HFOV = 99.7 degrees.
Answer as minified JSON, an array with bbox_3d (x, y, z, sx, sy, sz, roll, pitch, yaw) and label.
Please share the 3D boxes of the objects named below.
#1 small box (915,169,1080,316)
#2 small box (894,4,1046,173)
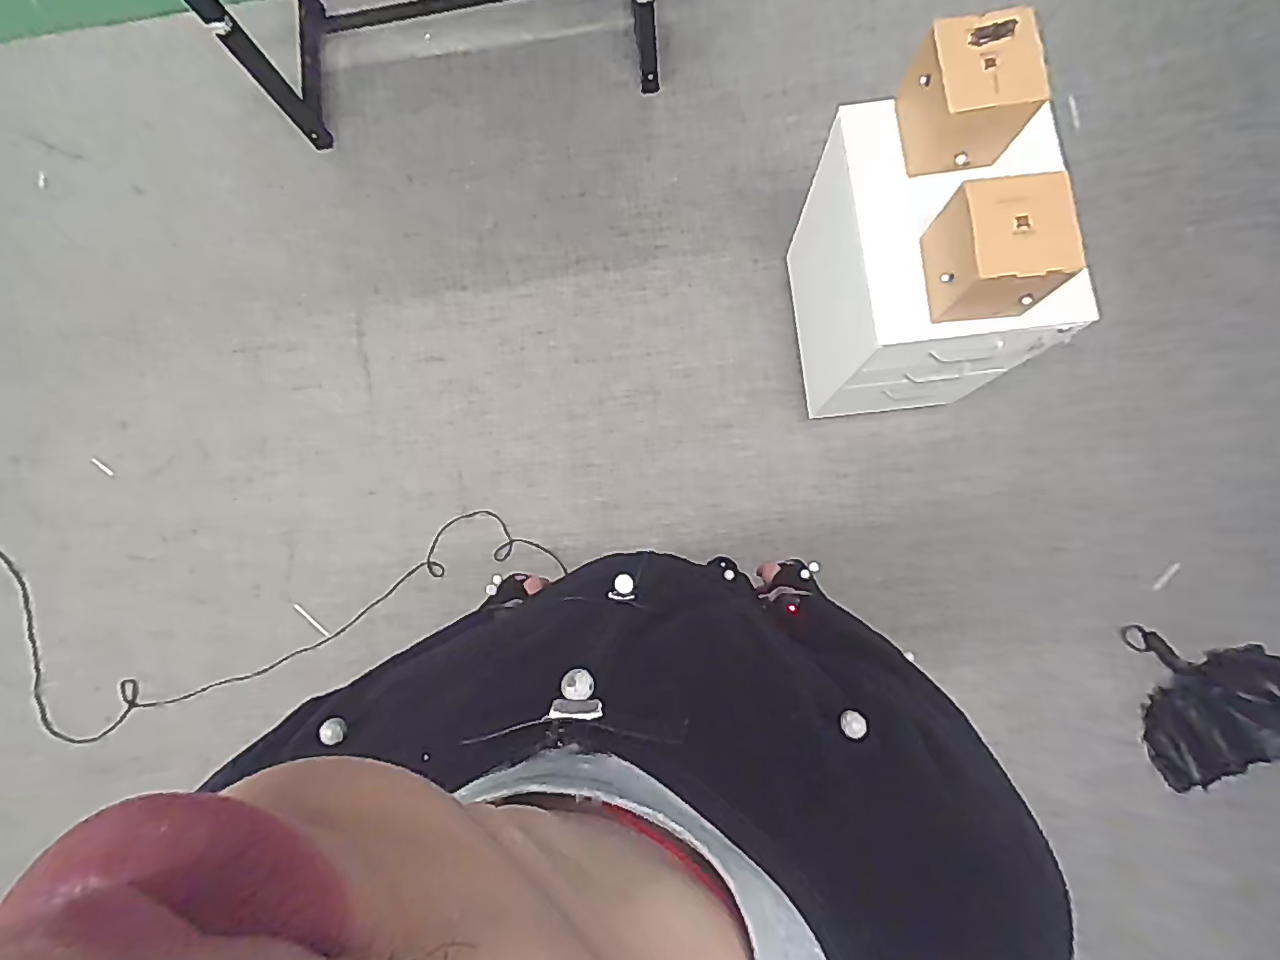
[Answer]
[{"bbox_3d":[0.608,-0.400,0.942,0.168,0.176,0.179,-5,81,1],"label":"small box"},{"bbox_3d":[0.581,-0.696,0.977,0.168,0.176,0.179,-6,85,3],"label":"small box"}]
